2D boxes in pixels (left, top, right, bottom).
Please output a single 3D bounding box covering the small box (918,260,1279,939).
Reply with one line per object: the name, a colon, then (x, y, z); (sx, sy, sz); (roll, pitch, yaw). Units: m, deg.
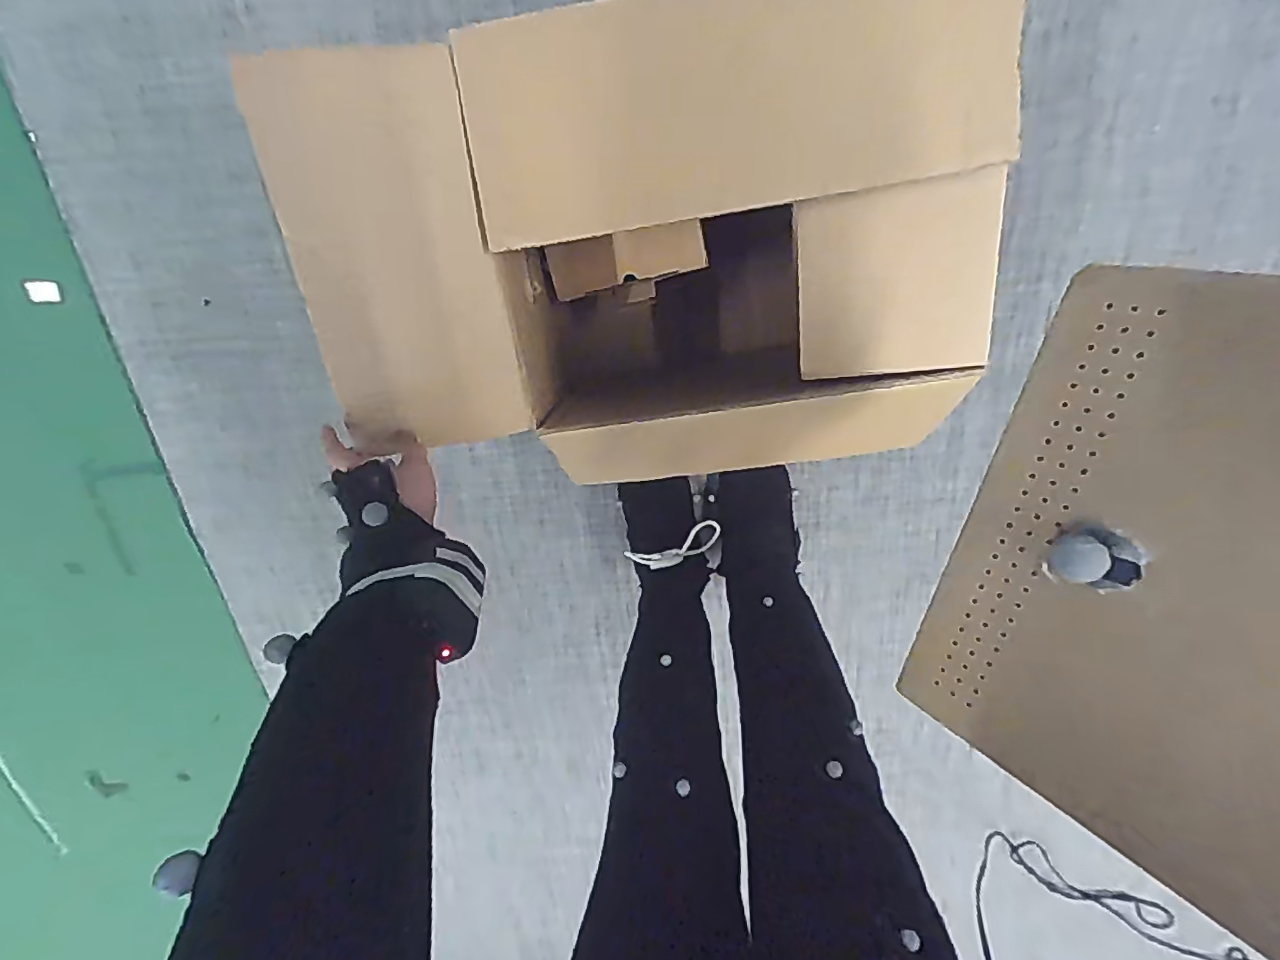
small box: (0.235, 0.033, 0.195); (0.168, 0.176, 0.179); (-3, 114, -36)
